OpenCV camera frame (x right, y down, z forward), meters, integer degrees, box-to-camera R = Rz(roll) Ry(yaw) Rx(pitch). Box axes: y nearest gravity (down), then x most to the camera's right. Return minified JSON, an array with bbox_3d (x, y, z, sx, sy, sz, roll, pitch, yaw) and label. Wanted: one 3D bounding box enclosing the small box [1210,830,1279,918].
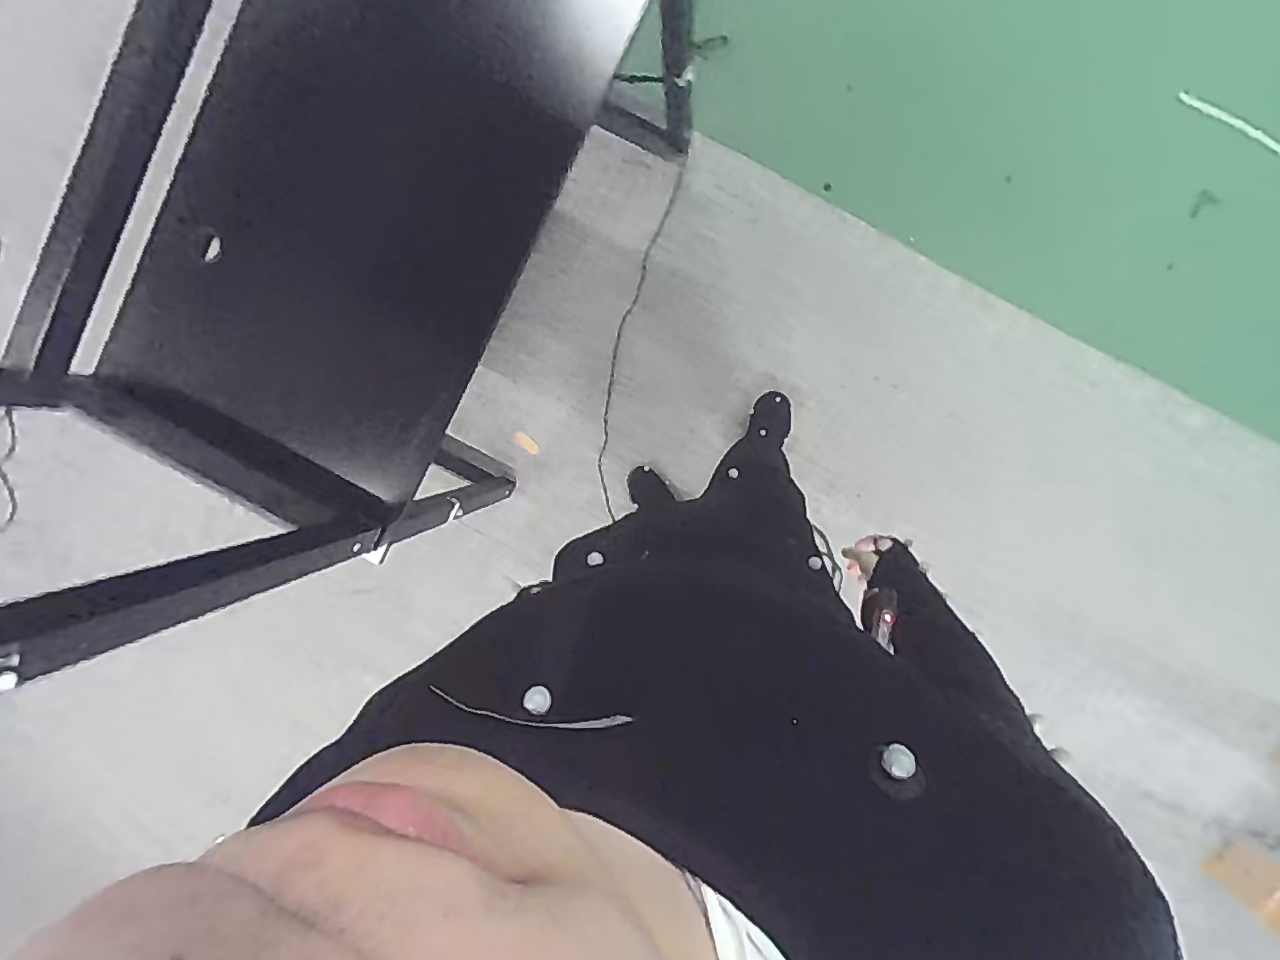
[{"bbox_3d":[1.773,1.120,1.500,0.179,0.176,0.168,37,98,2],"label":"small box"}]
